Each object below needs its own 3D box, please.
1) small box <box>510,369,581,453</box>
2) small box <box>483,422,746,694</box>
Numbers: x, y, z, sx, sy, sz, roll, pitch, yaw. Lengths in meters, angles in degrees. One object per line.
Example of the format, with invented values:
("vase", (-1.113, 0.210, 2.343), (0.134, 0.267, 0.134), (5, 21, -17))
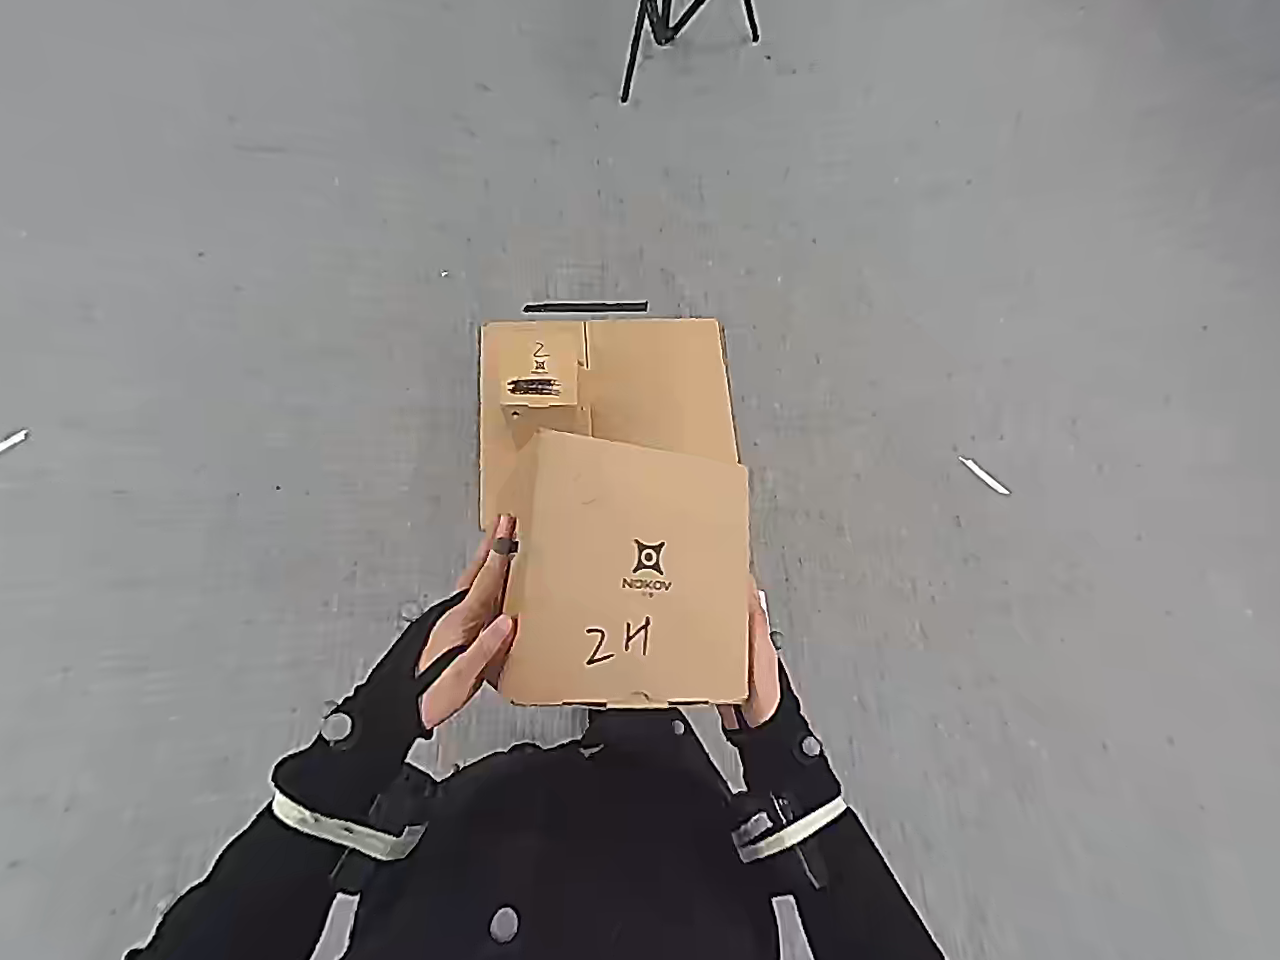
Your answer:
("small box", (-0.238, -0.170, 1.404), (0.168, 0.176, 0.179), (1, 73, -6))
("small box", (-0.029, 0.073, 0.443), (0.168, 0.176, 0.179), (9, 74, -21))
